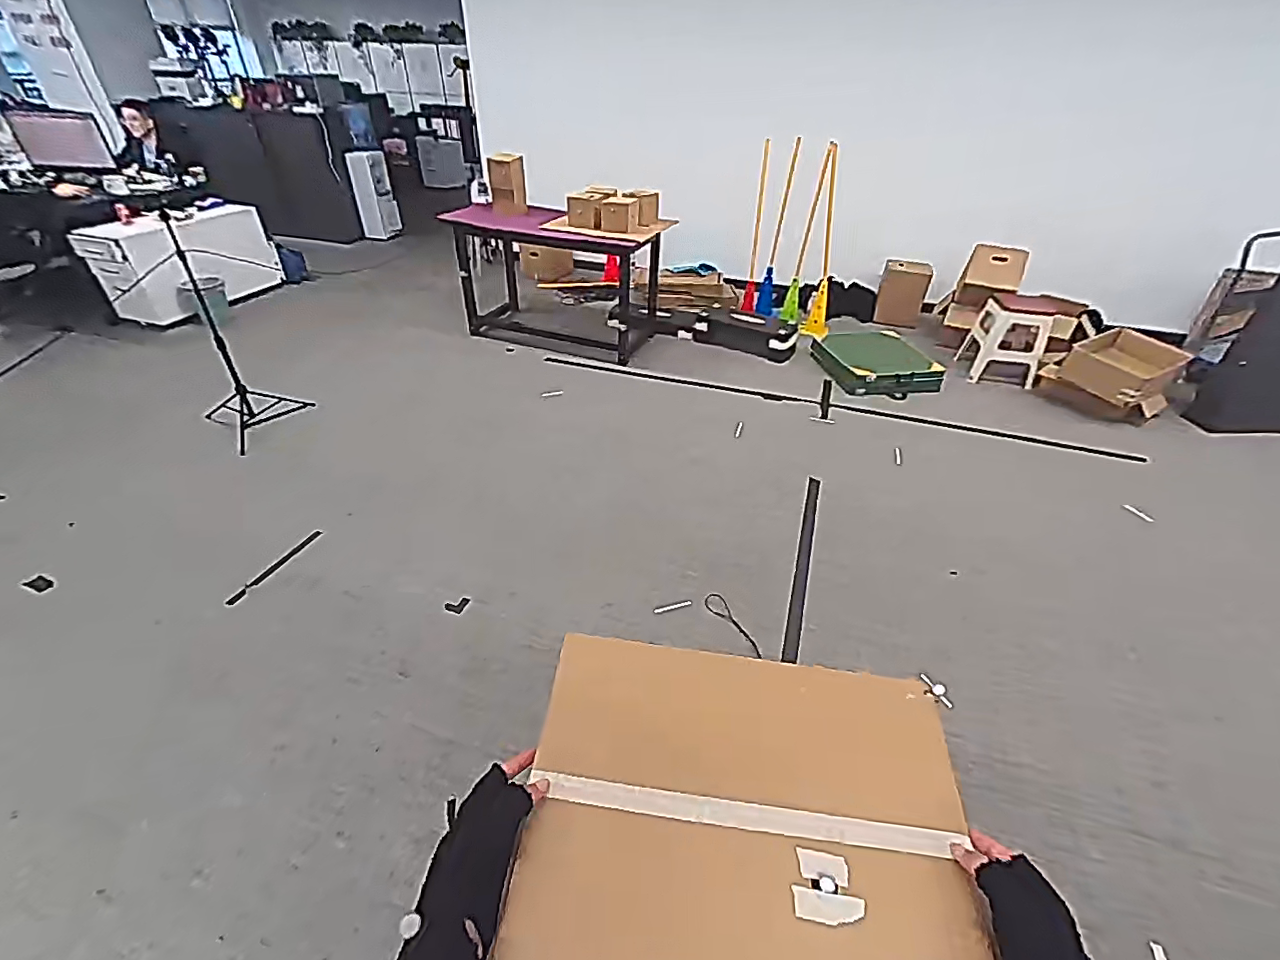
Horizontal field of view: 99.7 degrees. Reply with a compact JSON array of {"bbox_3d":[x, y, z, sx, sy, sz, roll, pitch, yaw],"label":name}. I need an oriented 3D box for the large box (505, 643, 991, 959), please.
[{"bbox_3d":[0.096,0.421,0.615,0.408,0.320,0.320,7,46,4],"label":"large box"}]
